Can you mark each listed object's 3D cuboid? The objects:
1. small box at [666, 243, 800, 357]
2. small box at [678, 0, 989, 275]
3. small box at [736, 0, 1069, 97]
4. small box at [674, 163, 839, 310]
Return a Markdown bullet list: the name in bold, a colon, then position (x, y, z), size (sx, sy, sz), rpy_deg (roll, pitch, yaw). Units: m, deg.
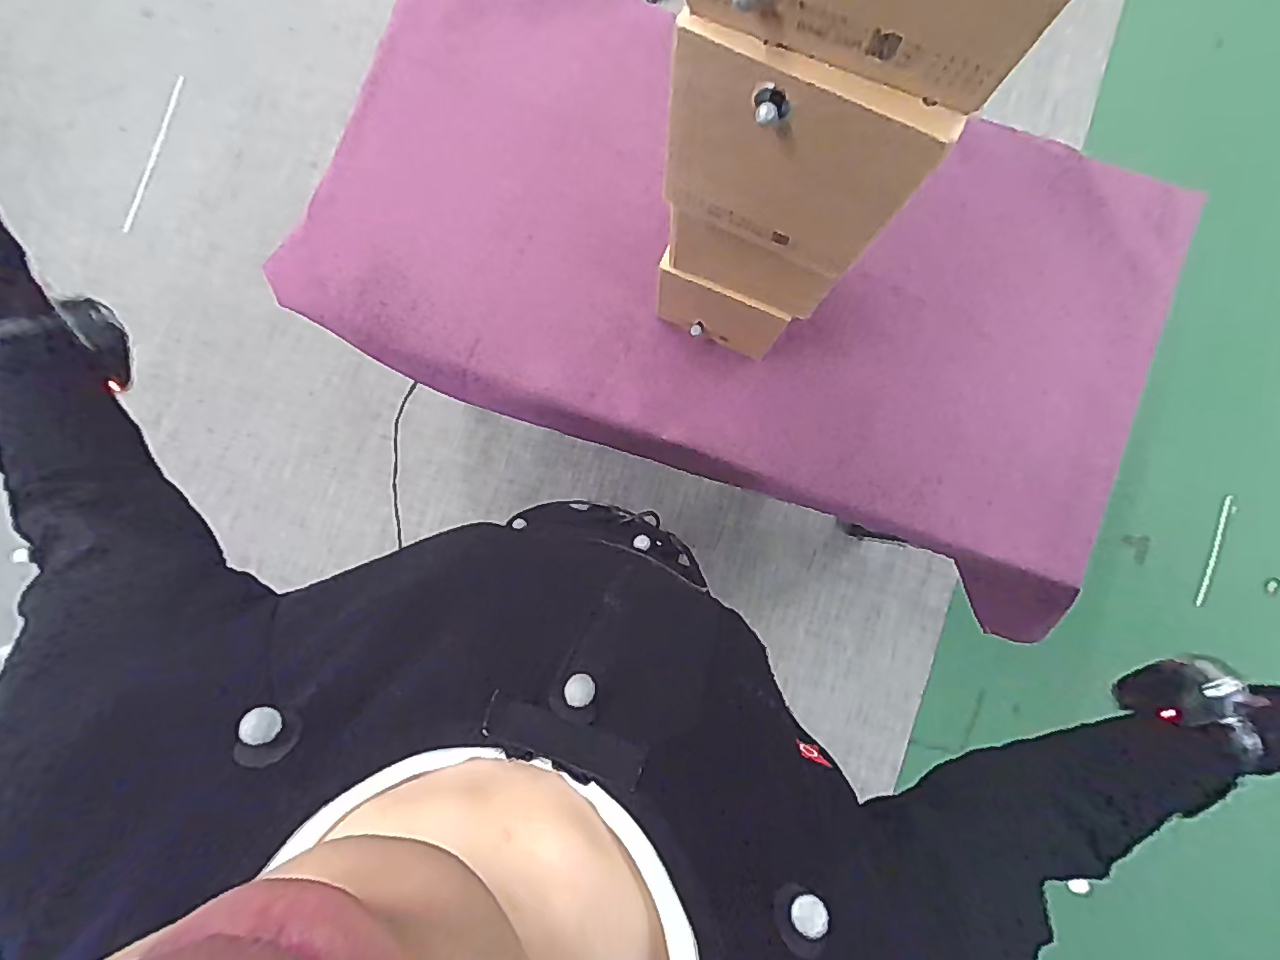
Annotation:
- **small box**: position (0.136, -0.286, 0.698), size (0.168, 0.176, 0.179), rpy_deg (23, 88, 2)
- **small box**: position (0.132, -0.280, 0.372), size (0.168, 0.176, 0.179), rpy_deg (25, 87, 2)
- **small box**: position (0.134, -0.303, 0.209), size (0.168, 0.176, 0.179), rpy_deg (21, 86, 1)
- **small box**: position (0.141, -0.294, 0.537), size (0.179, 0.176, 0.168), rpy_deg (22, 88, 1)
